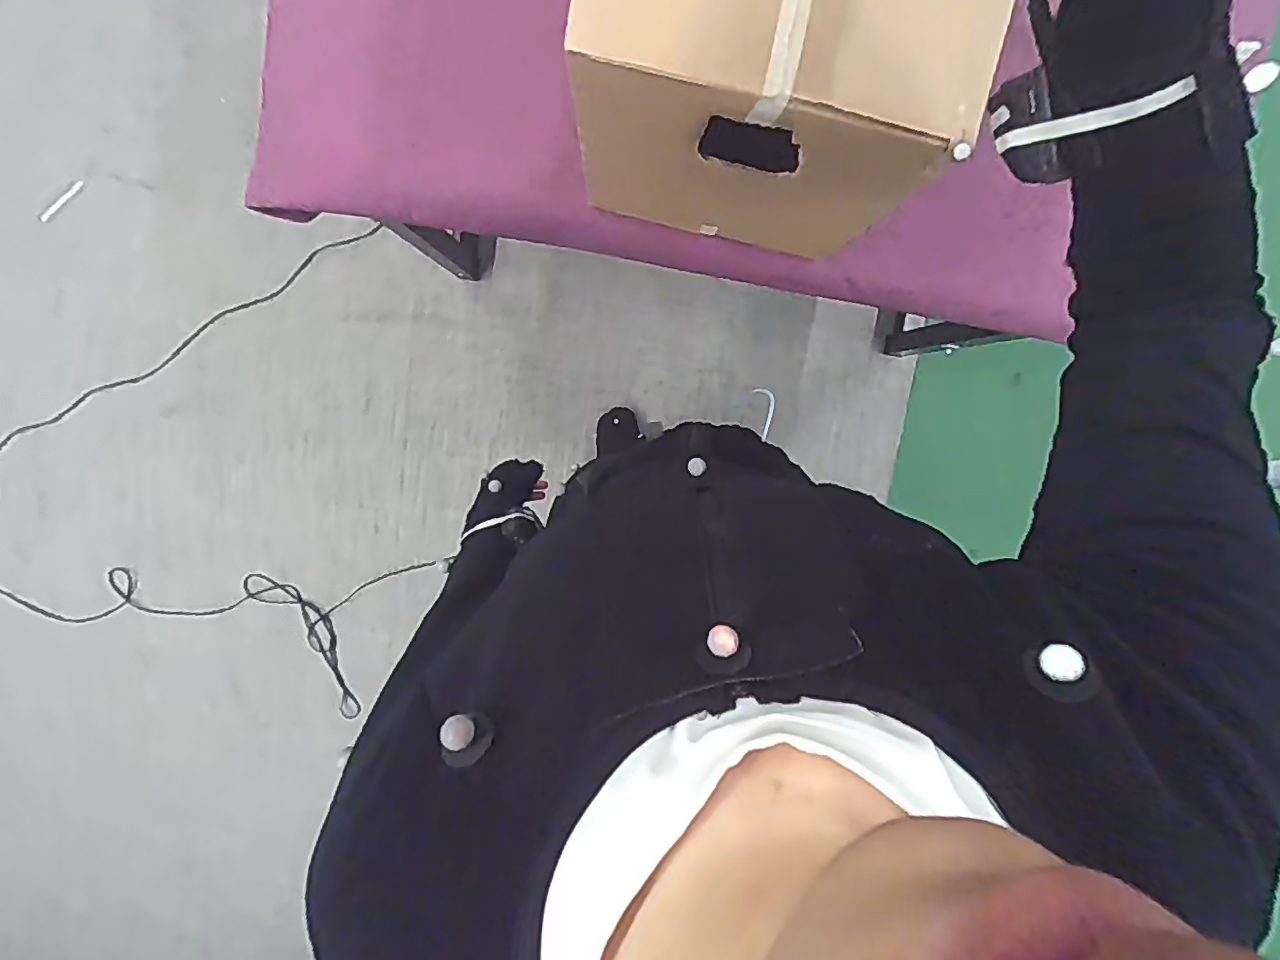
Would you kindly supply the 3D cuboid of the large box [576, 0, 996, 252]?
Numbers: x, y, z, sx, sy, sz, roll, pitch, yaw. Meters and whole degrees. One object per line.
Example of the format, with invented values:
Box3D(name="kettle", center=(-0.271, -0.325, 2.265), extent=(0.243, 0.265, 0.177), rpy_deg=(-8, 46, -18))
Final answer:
Box3D(name="large box", center=(0.130, -0.499, 0.534), extent=(0.320, 0.320, 0.408), rpy_deg=(11, 98, -3))
